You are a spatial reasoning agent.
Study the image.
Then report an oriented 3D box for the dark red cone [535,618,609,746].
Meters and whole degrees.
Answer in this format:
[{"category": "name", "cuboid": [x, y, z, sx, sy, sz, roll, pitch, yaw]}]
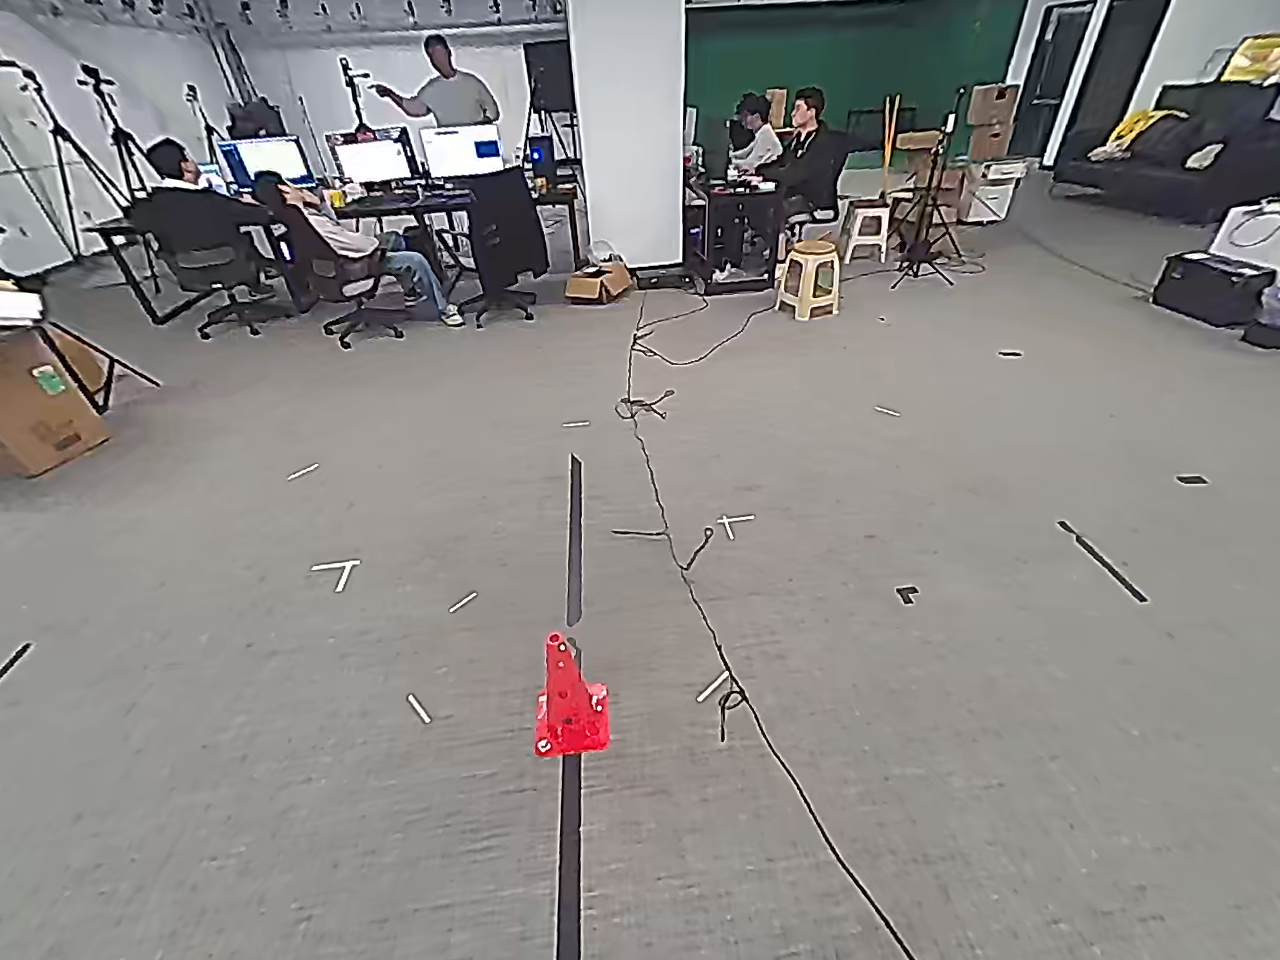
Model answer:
[{"category": "dark red cone", "cuboid": [-0.194, 0.504, 1.402, 0.201, 0.394, 0.202, -5, 36, -4]}]
